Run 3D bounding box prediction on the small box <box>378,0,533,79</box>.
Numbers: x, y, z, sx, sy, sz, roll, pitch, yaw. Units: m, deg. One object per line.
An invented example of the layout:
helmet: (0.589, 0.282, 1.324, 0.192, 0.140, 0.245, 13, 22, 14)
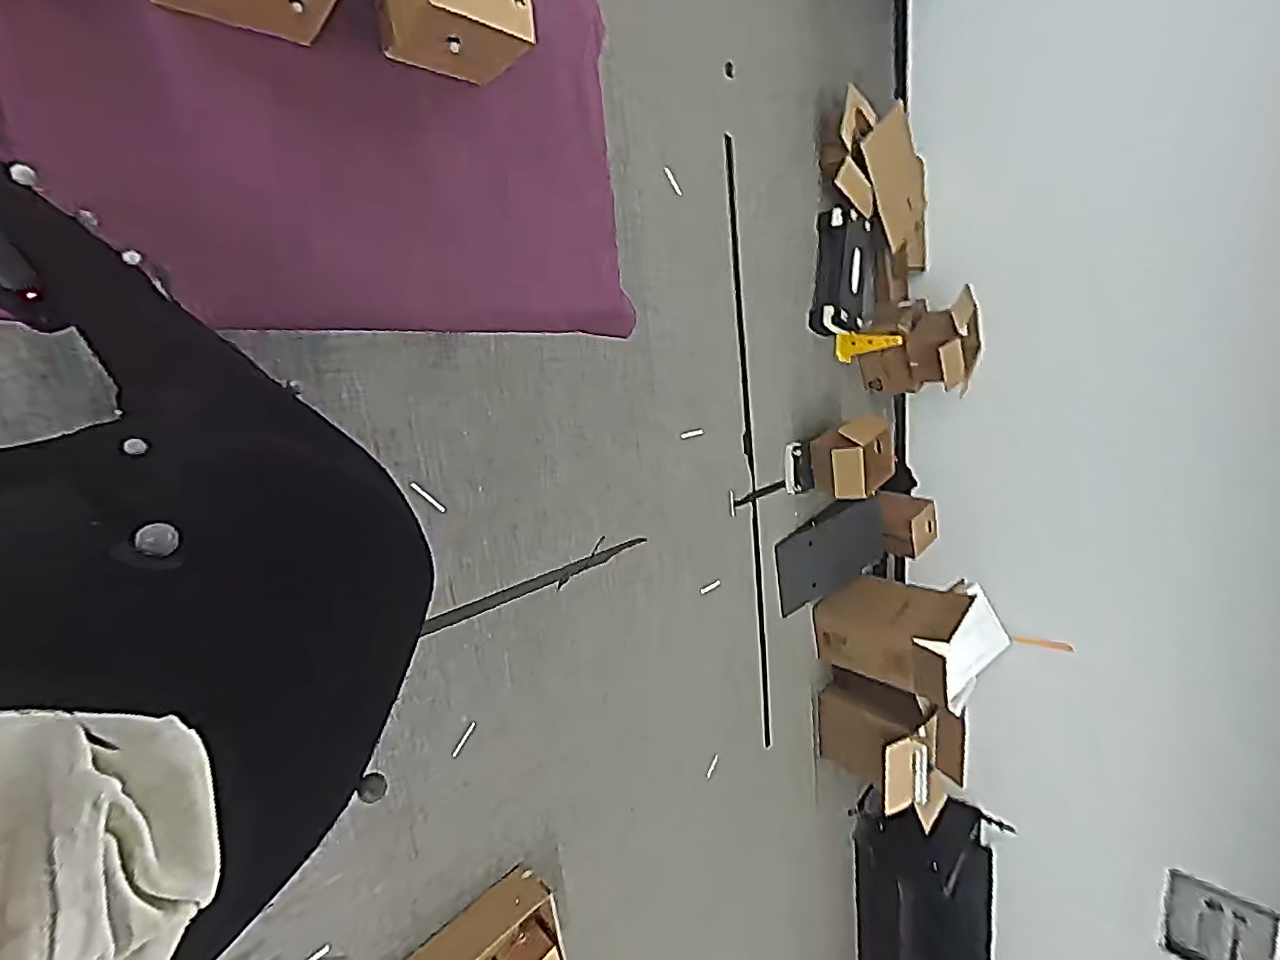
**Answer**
small box: (-0.287, -0.745, 0.814, 0.179, 0.176, 0.168, -17, 109, -41)
